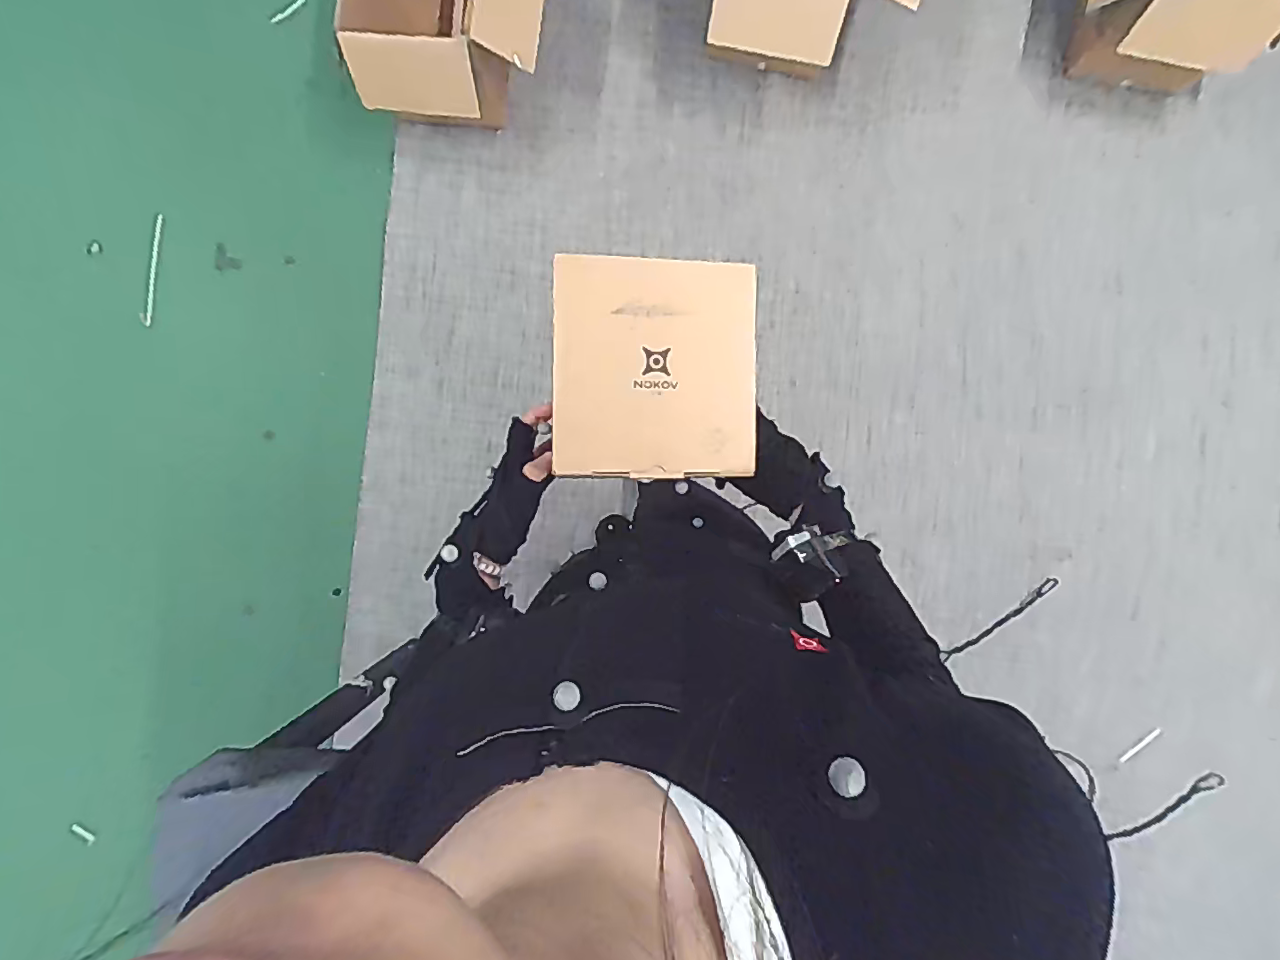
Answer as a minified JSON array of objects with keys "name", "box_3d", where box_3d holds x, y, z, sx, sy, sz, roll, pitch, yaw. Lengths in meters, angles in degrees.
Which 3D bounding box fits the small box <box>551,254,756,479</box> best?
[{"name":"small box","box_3d":[0.003,-0.090,0.508,0.168,0.176,0.179,-1,90,-8]}]
